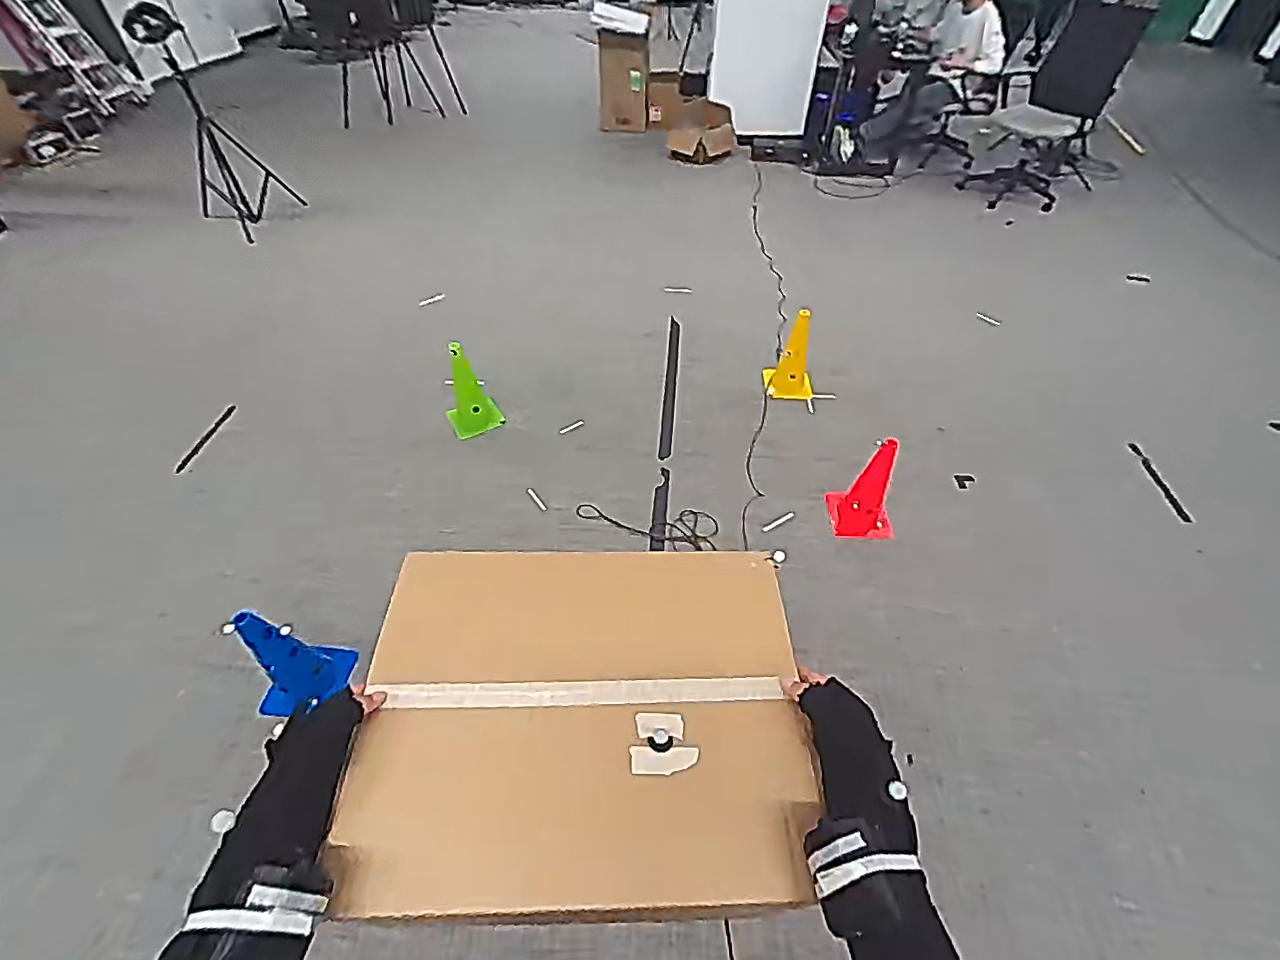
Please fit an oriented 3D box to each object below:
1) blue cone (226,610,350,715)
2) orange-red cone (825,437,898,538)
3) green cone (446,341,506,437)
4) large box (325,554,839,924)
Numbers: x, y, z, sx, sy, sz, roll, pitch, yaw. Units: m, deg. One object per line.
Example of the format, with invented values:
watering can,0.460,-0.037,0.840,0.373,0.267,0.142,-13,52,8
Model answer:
blue cone,-0.925,0.442,1.383,0.192,0.380,0.193,5,47,6
orange-red cone,0.765,0.001,1.774,0.198,0.360,0.199,2,46,1
green cone,-0.684,-0.385,2.118,0.202,0.368,0.200,-27,52,-21
large box,-0.052,0.298,0.621,0.408,0.320,0.320,1,50,-3
